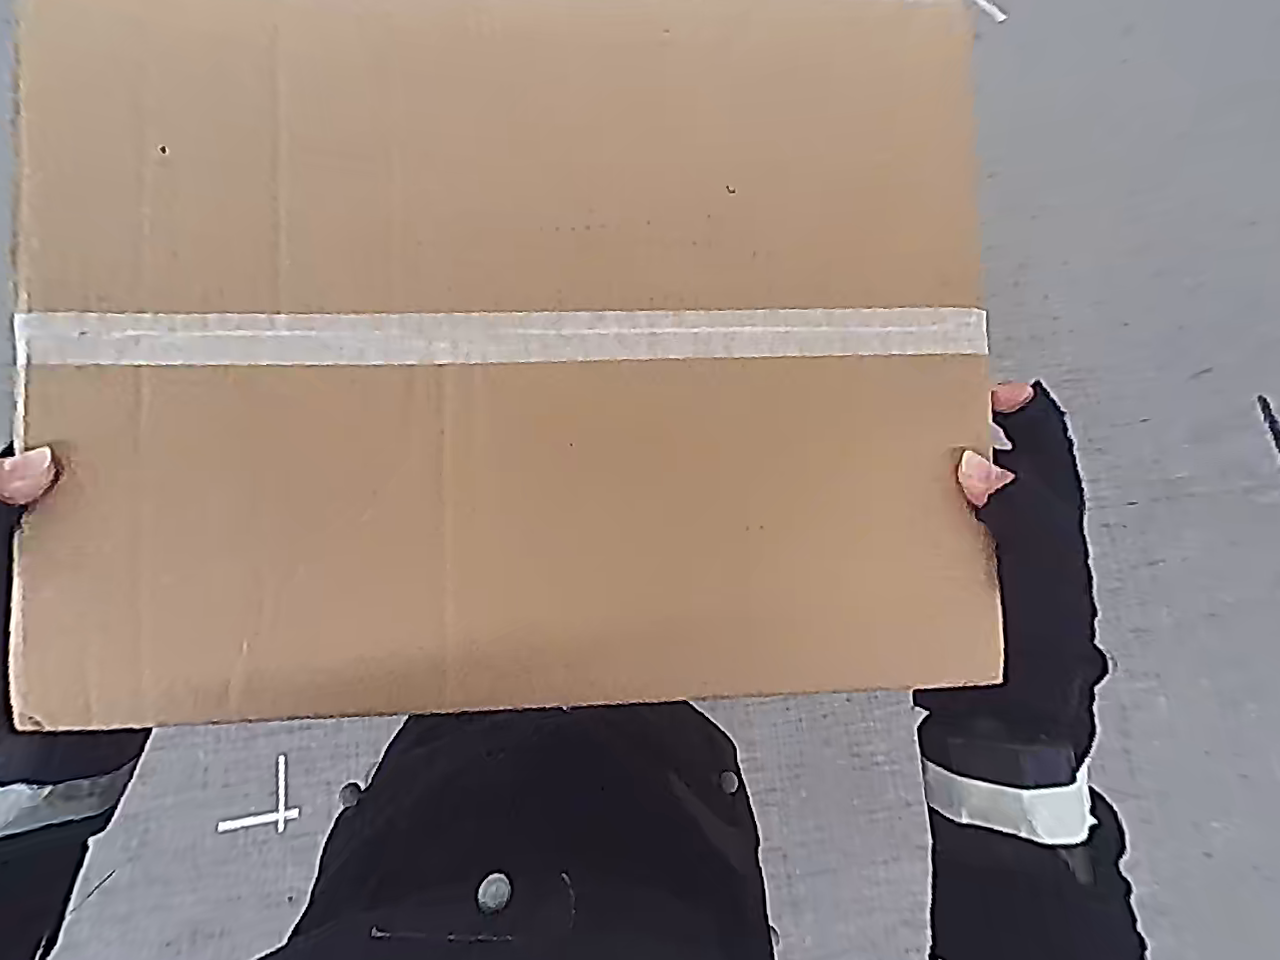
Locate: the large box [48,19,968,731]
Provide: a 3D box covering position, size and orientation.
[{"bbox_3d":[-0.057,-0.051,0.391,0.408,0.320,0.320,-2,87,-4],"label":"large box"}]
